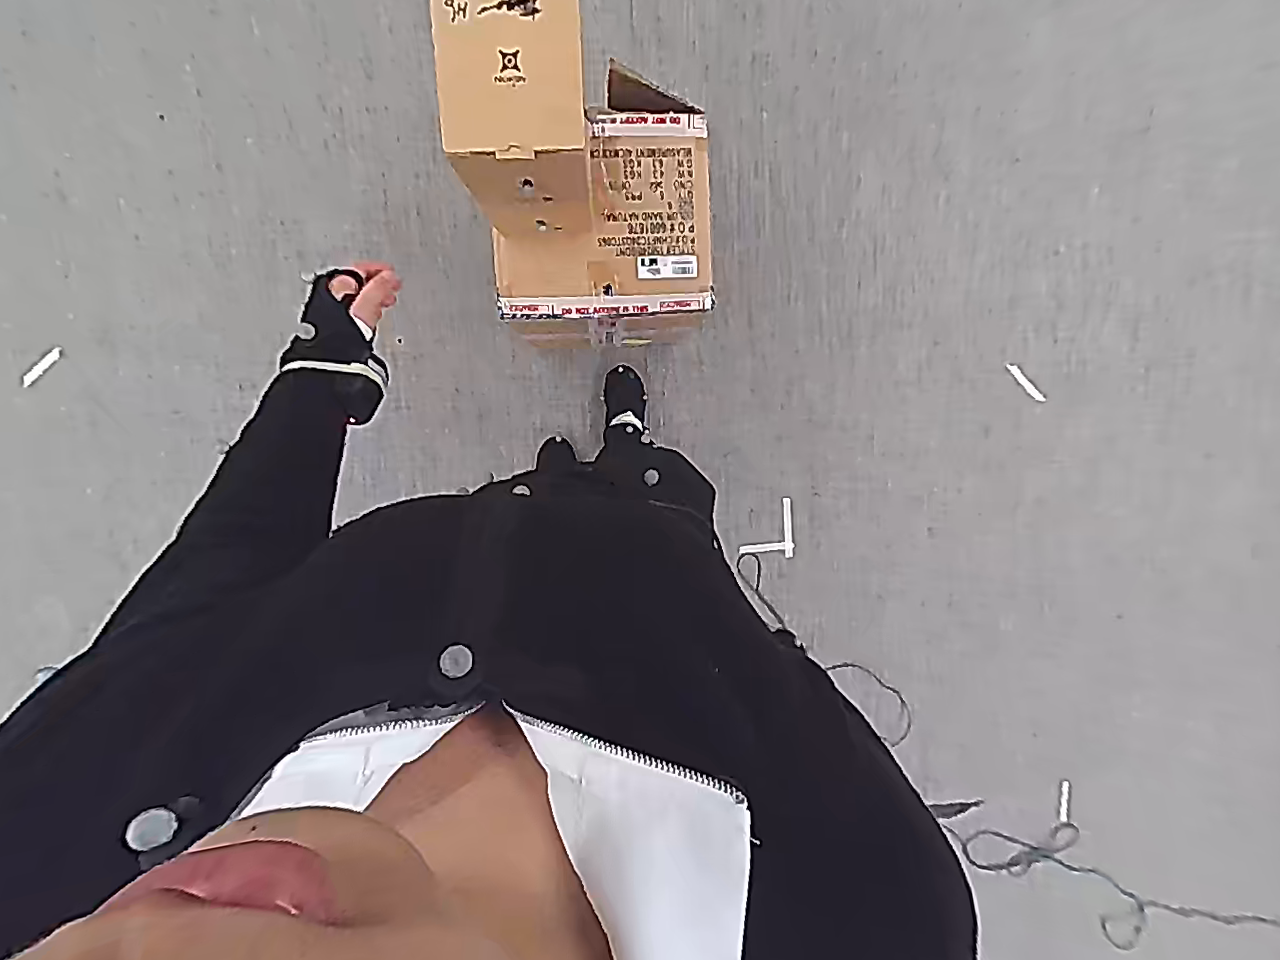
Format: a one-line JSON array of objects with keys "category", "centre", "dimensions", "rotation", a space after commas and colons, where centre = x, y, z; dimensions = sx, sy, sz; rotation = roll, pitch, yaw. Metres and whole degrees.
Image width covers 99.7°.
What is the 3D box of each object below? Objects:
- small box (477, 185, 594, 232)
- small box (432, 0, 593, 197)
[{"category": "small box", "centre": [-0.162, -0.509, 0.850], "dimensions": [0.168, 0.176, 0.179], "rotation": [-4, 99, -1]}, {"category": "small box", "centre": [-0.149, -0.475, 0.689], "dimensions": [0.168, 0.176, 0.179], "rotation": [-2, 100, -2]}]
